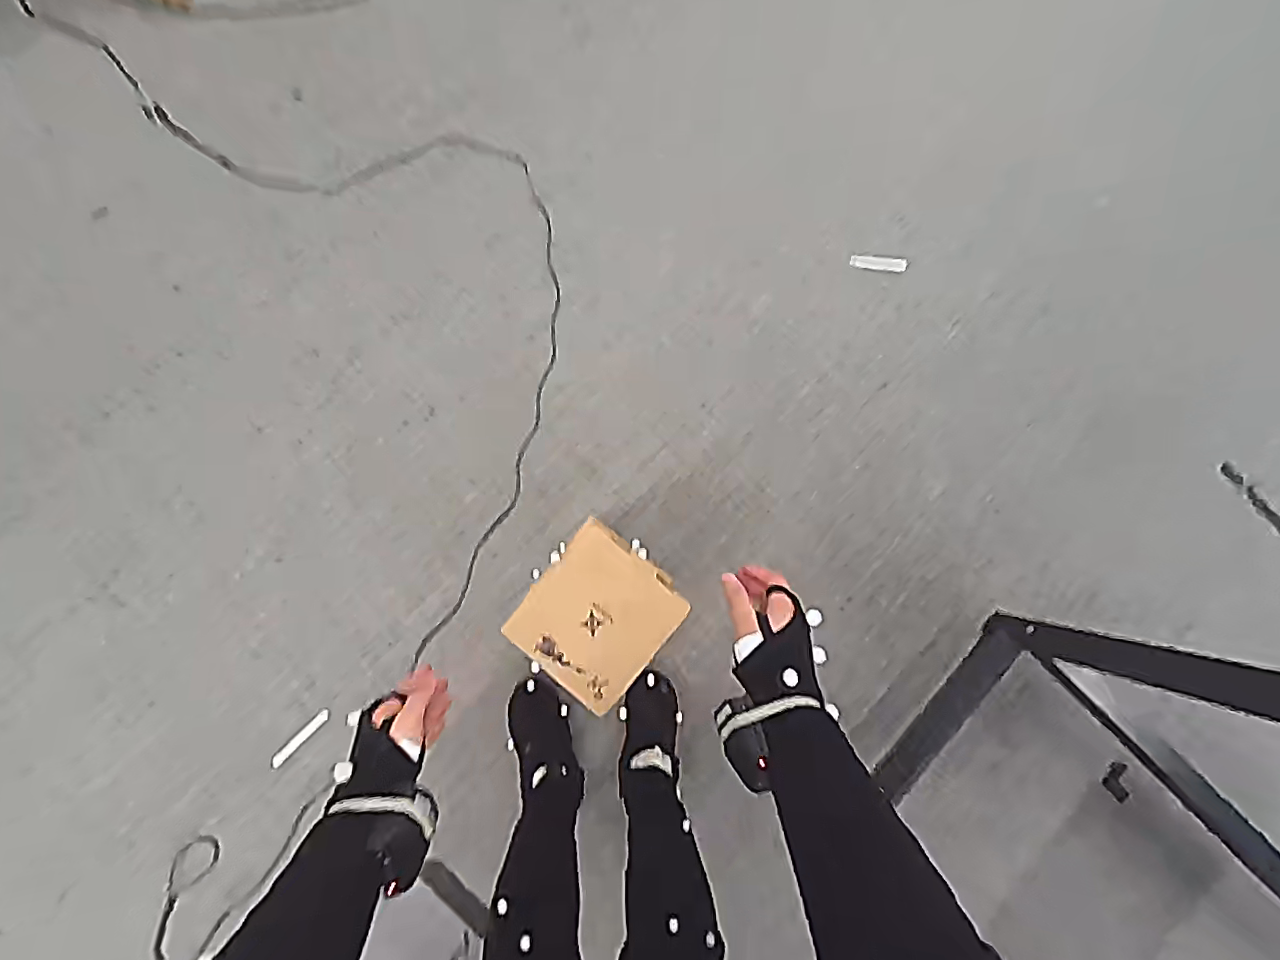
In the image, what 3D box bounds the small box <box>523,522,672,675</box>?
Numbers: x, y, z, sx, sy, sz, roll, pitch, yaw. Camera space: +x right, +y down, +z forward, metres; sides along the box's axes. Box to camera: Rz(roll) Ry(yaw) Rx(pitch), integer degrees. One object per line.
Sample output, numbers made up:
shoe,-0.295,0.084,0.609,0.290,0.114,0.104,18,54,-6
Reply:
small box,-0.070,0.191,0.909,0.168,0.176,0.179,37,81,-1
